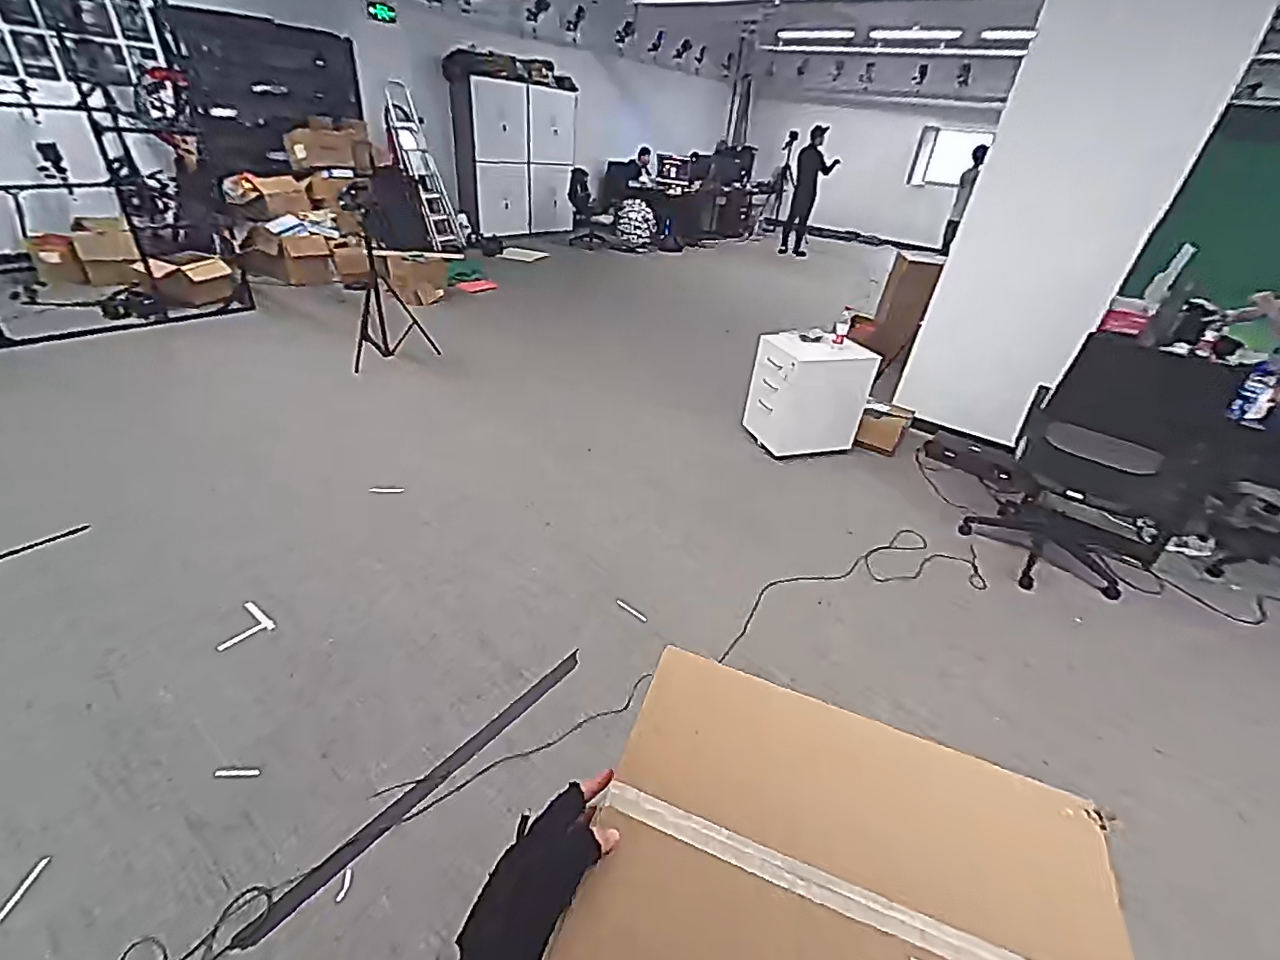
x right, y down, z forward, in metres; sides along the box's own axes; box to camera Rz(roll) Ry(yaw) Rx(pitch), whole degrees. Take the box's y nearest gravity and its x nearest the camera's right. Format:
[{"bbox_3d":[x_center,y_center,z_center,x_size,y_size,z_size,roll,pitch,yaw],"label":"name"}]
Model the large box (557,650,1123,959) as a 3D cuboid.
[{"bbox_3d":[0.156,0.437,0.530,0.408,0.320,0.320,17,43,13],"label":"large box"}]
